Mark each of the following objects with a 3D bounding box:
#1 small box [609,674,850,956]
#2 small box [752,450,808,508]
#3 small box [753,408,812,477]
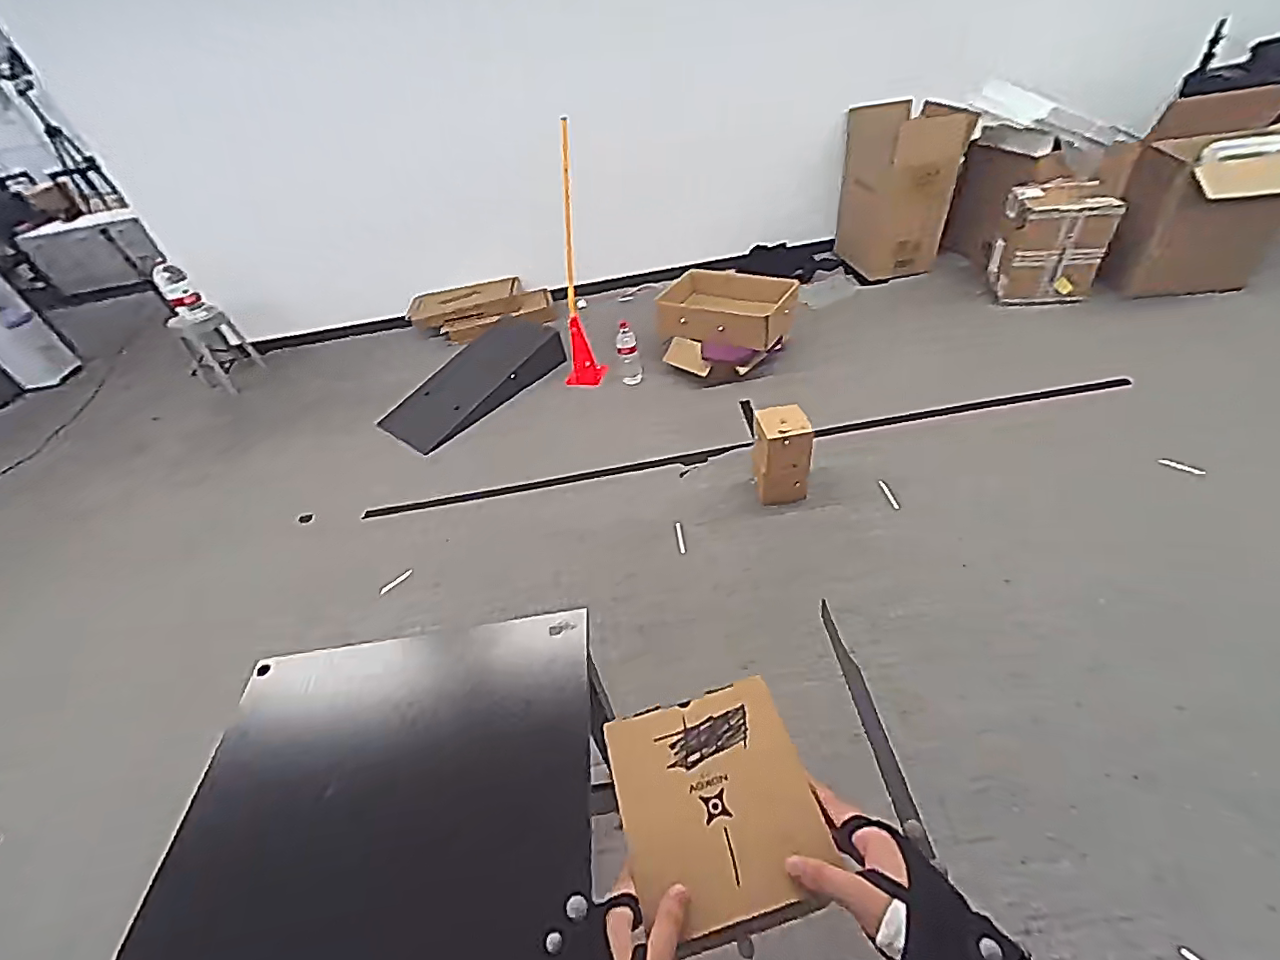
[{"bbox_3d":[0.075,0.325,0.528,0.168,0.176,0.179,-16,46,-5],"label":"small box"},{"bbox_3d":[0.534,-0.015,2.083,0.179,0.176,0.168,-11,40,2],"label":"small box"},{"bbox_3d":[0.512,-0.136,1.974,0.168,0.176,0.179,-11,40,0],"label":"small box"}]
